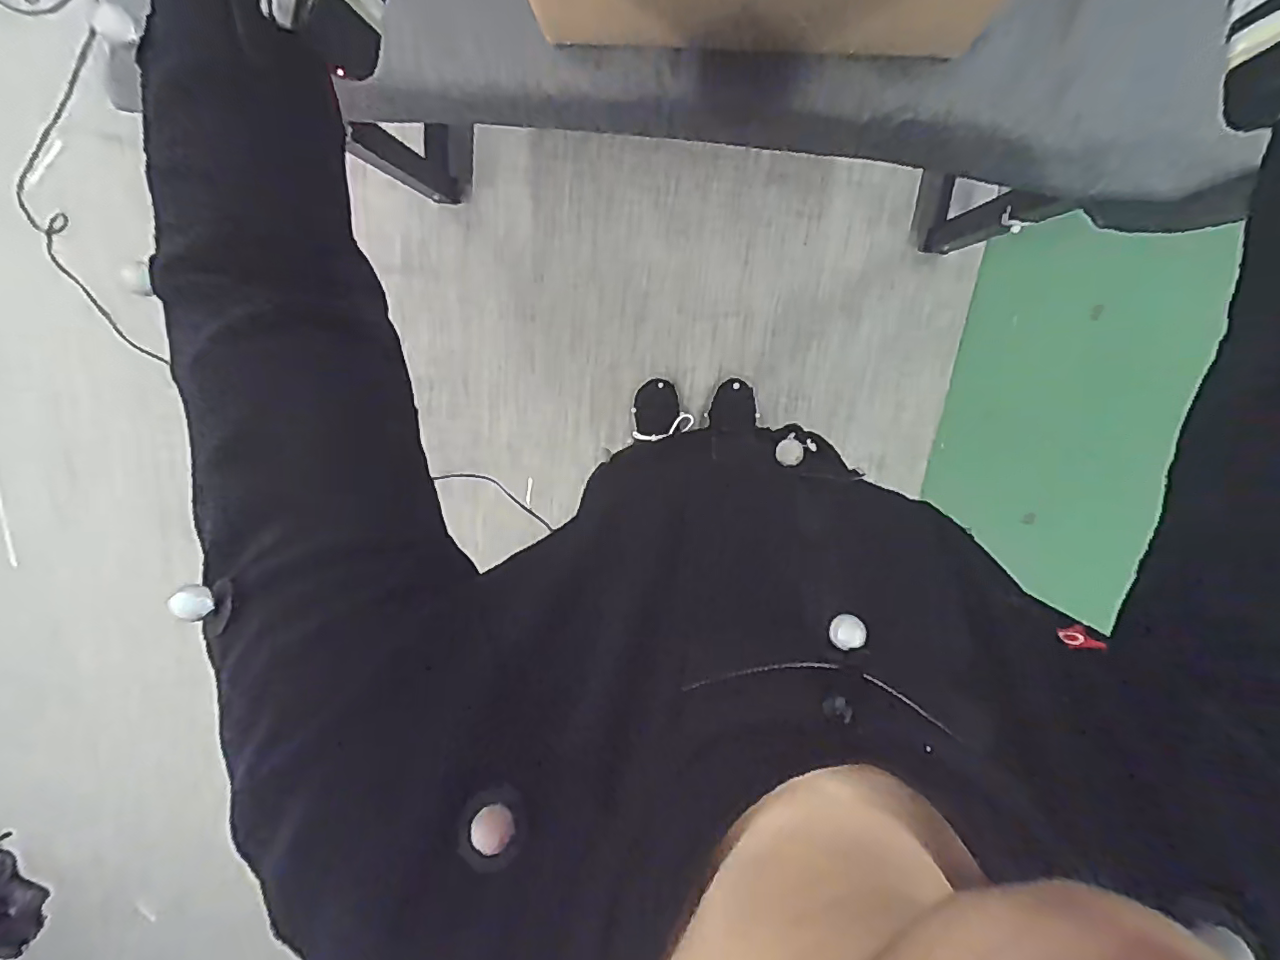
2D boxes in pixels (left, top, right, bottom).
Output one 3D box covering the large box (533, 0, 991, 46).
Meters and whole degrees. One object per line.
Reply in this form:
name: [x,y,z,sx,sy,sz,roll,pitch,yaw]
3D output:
large box: [0.101,-0.539,0.350,0.408,0.320,0.320,3,103,2]
